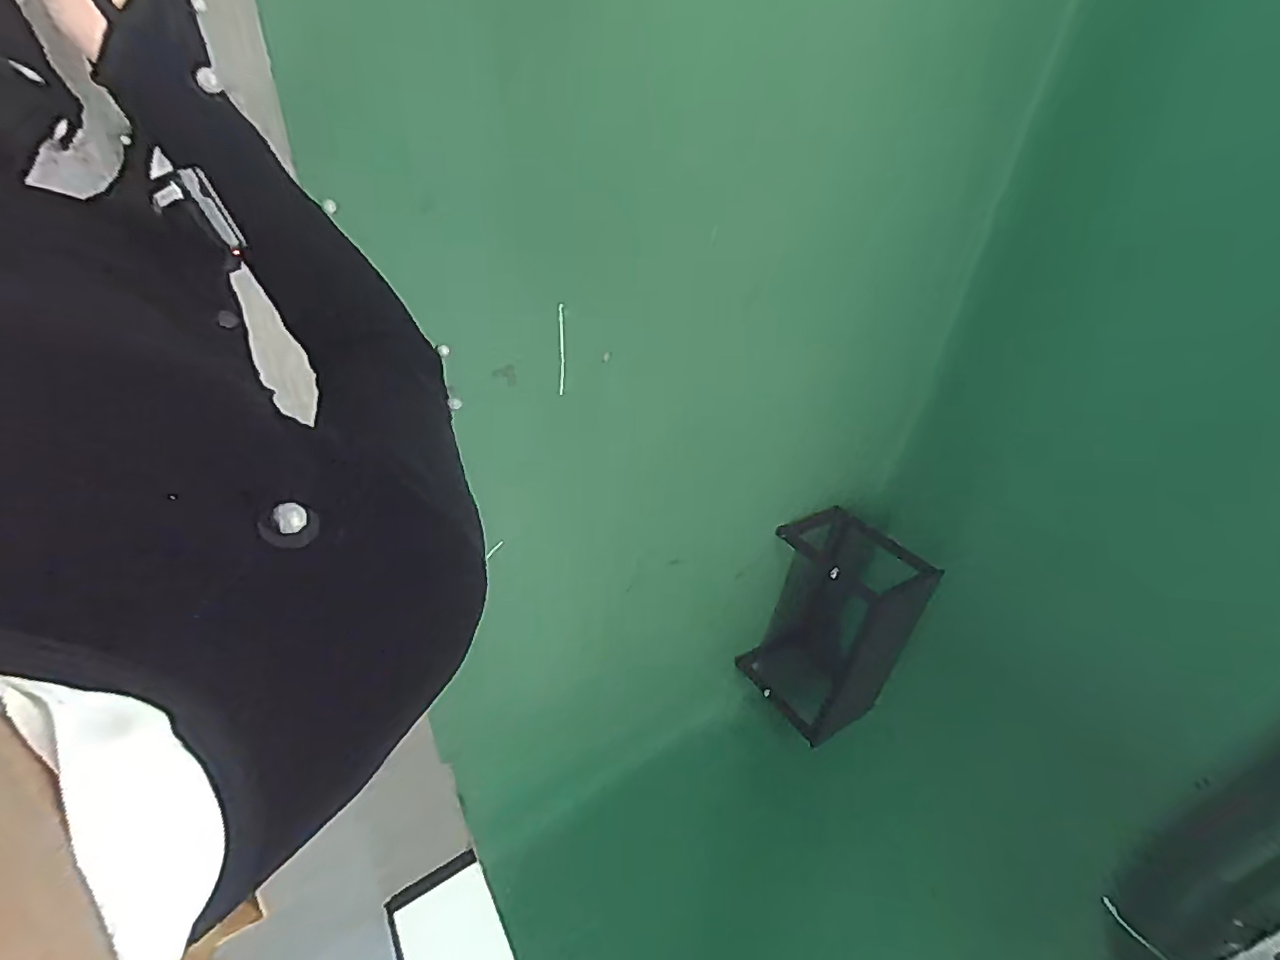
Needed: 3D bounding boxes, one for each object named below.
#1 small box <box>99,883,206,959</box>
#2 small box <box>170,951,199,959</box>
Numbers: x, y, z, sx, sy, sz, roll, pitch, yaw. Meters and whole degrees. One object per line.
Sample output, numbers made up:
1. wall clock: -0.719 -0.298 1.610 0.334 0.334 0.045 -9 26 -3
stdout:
1. small box: -1.179 1.135 1.314 0.179 0.176 0.168 -8 125 -33
2. small box: -1.090 1.215 1.201 0.179 0.176 0.168 -10 126 -33
